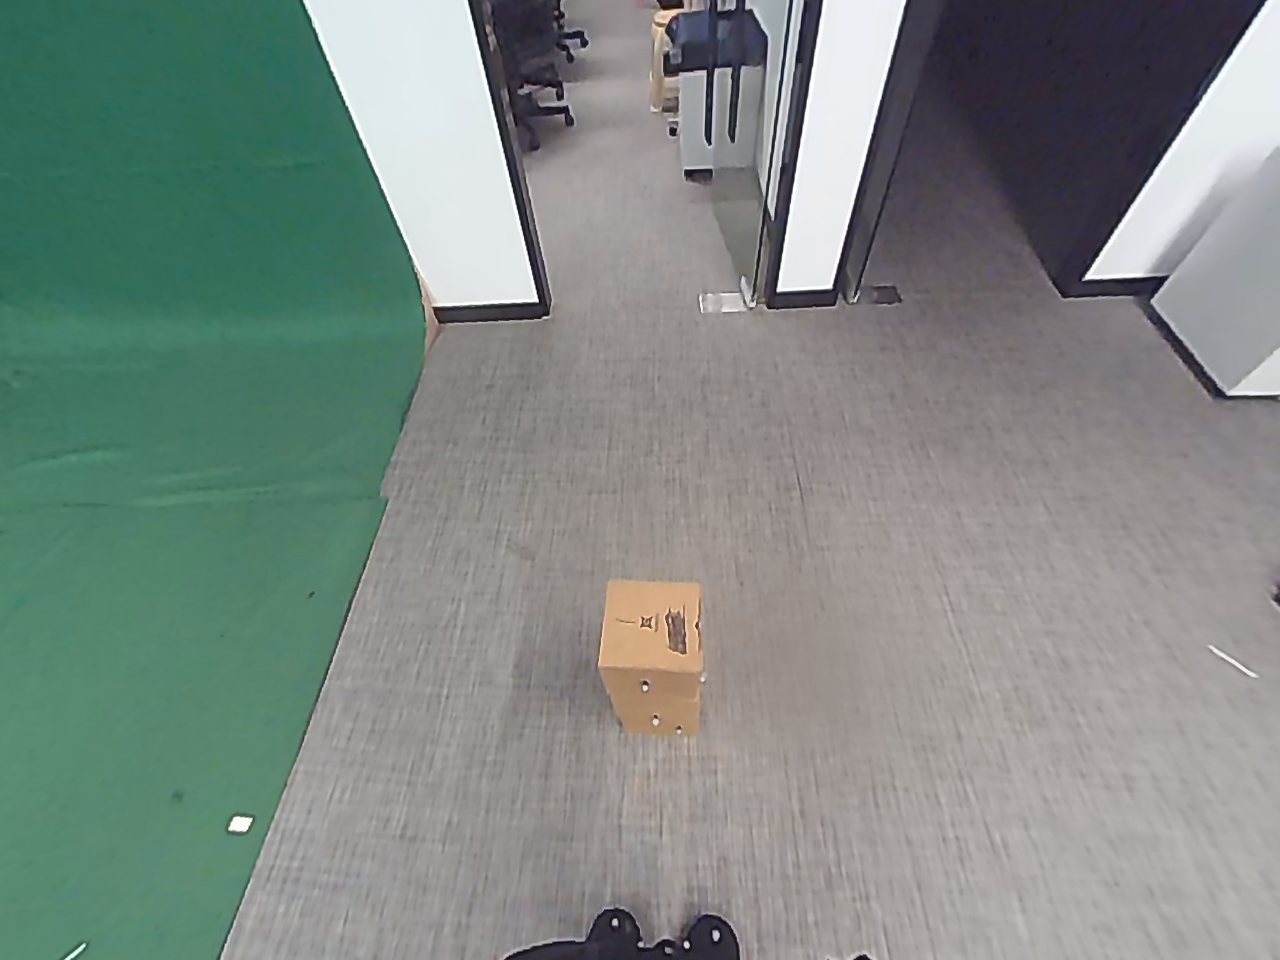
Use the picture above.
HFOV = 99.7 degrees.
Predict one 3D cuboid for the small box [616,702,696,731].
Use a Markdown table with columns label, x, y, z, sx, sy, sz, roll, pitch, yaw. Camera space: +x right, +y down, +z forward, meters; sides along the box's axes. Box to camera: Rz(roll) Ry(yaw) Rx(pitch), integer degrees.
| label | x | y | z | sx | sy | sz | roll | pitch | yaw |
| --- | --- | --- | --- | --- | --- | --- | --- | --- | --- |
| small box | 0.043 | 0.496 | 1.297 | 0.179 | 0.176 | 0.168 | -1 | 53 | 5 |

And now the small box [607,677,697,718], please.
| label | x | y | z | sx | sy | sz | roll | pitch | yaw |
| --- | --- | --- | --- | --- | --- | --- | --- | --- | --- |
| small box | 0.032 | 0.403 | 1.163 | 0.179 | 0.176 | 0.168 | 4 | 53 | 6 |

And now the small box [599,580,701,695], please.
| label | x | y | z | sx | sy | sz | roll | pitch | yaw |
| --- | --- | --- | --- | --- | --- | --- | --- | --- | --- |
| small box | 0.020 | 0.303 | 1.033 | 0.179 | 0.176 | 0.168 | 0 | 53 | 3 |
